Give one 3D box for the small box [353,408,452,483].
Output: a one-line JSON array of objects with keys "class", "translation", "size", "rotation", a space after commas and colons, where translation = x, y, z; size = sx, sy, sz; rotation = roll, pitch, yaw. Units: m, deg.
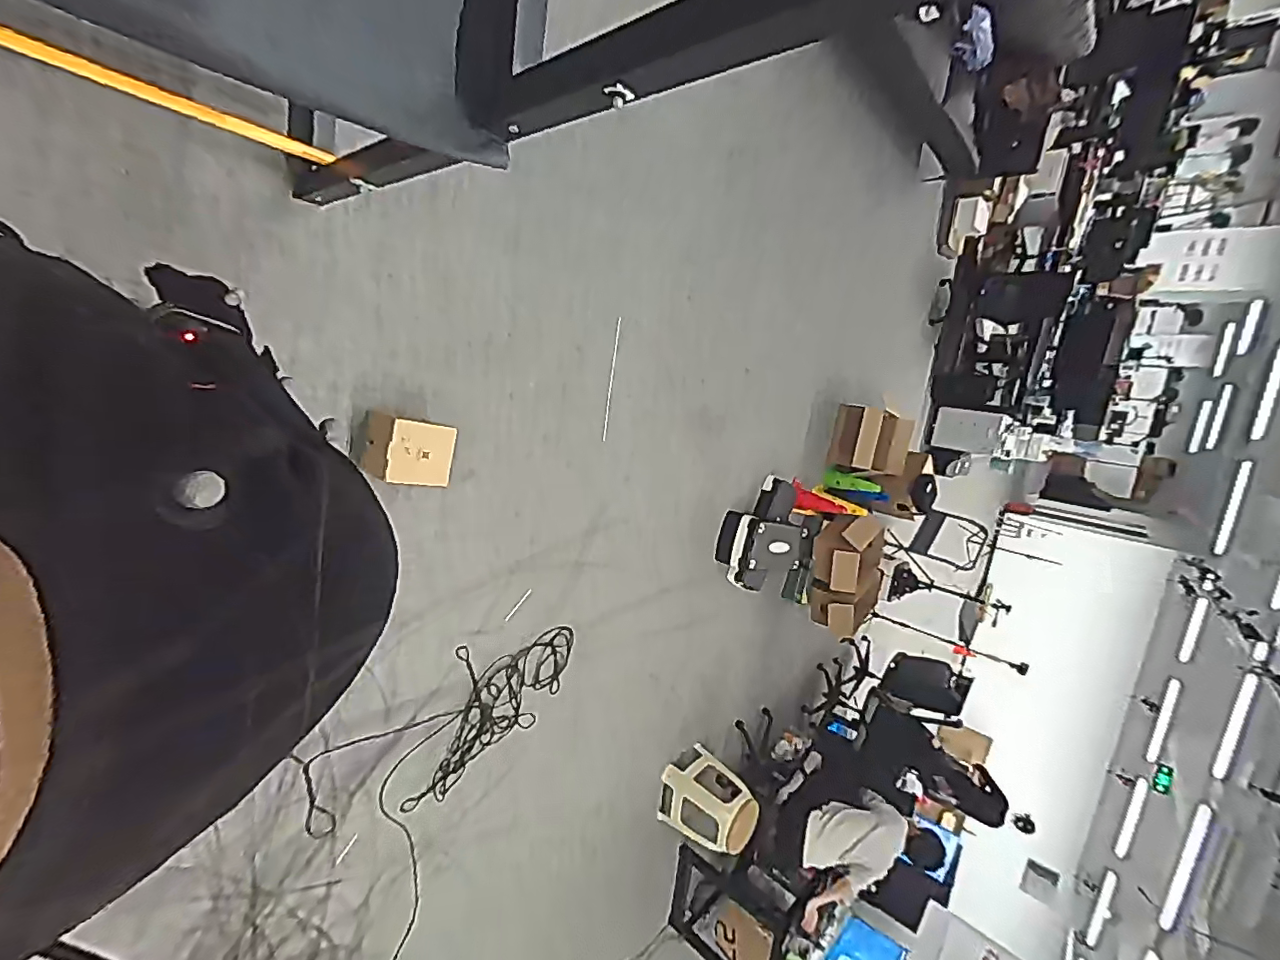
[{"class": "small box", "translation": [-0.645, -0.095, 1.467], "size": [0.179, 0.176, 0.168], "rotation": [7, 97, -49]}]
